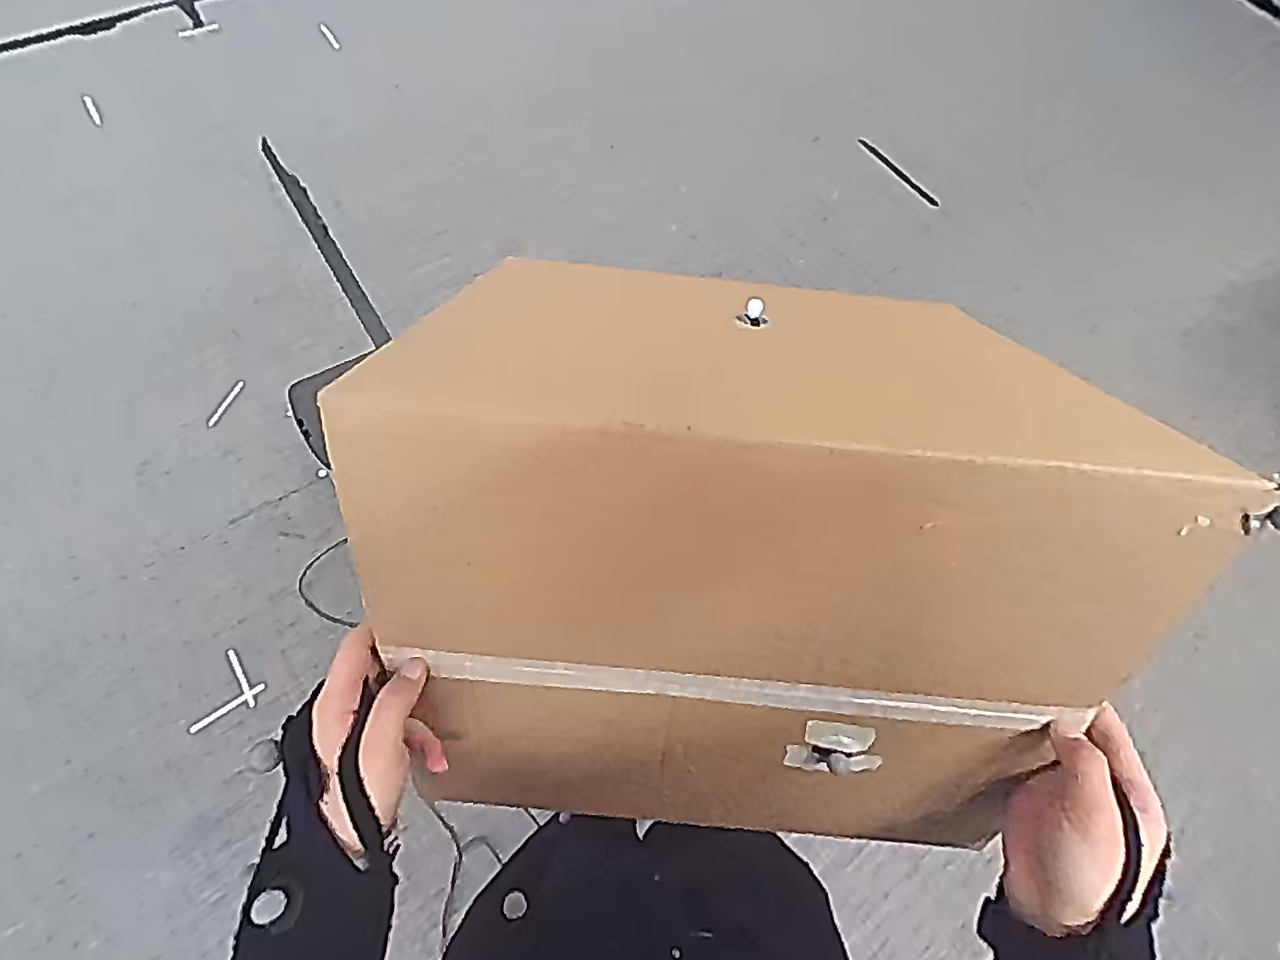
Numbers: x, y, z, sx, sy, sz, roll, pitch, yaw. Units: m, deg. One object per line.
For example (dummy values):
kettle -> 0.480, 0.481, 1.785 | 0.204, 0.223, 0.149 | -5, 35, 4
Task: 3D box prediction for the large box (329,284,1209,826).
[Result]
large box -> 0.052, 0.036, 0.444 | 0.408, 0.320, 0.320 | 4, 33, -1
